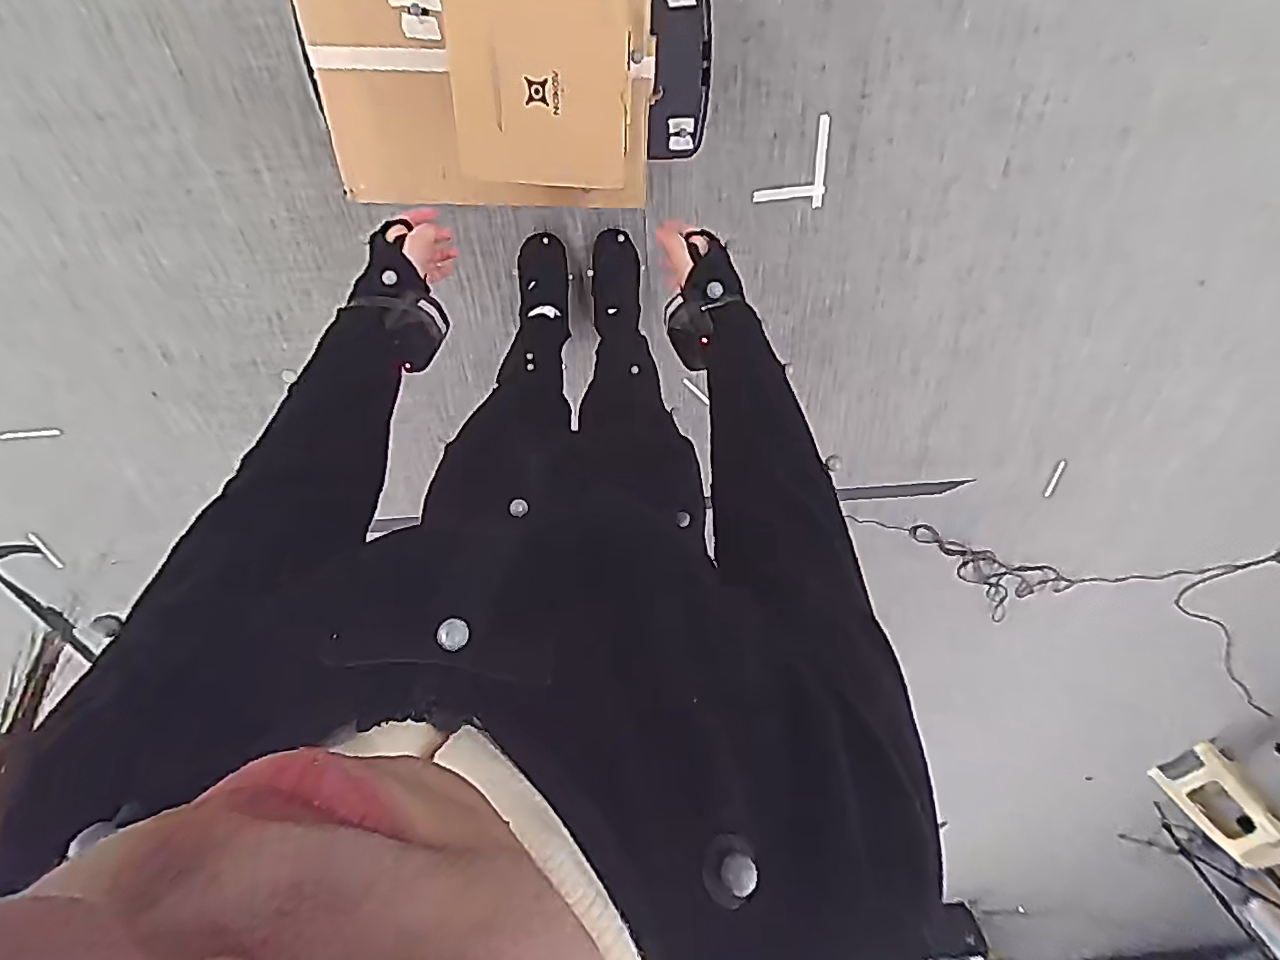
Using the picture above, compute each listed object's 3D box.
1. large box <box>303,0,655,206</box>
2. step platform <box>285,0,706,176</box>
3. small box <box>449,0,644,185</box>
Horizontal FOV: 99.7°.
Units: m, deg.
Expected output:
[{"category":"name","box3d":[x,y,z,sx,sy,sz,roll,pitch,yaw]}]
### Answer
[{"category":"large box","box3d":[-0.186,-0.588,0.763,0.408,0.320,0.320,0,125,-3]},{"category":"step platform","box3d":[-0.226,-0.722,0.958,0.684,0.204,0.286,1,126,-4]},{"category":"small box","box3d":[-0.093,-0.429,0.582,0.179,0.176,0.168,2,126,-5]}]
